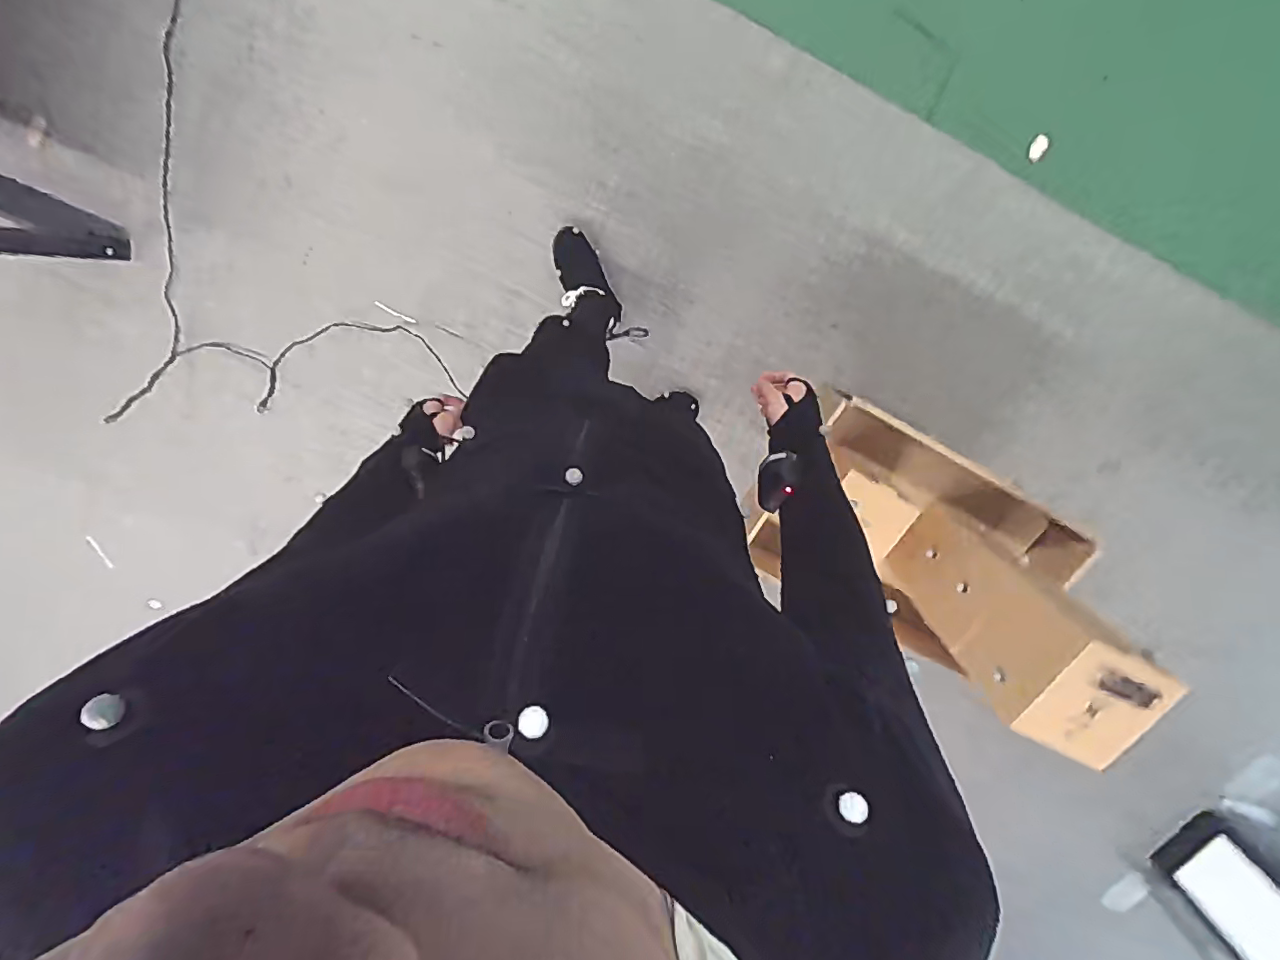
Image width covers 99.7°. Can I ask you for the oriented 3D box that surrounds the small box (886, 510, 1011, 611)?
[{"bbox_3d":[0.657,0.195,1.154,0.168,0.176,0.179,28,108,-7],"label":"small box"}]

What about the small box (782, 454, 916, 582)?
[{"bbox_3d":[0.418,0.070,1.118,0.168,0.176,0.179,30,108,-8],"label":"small box"}]

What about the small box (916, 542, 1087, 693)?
[{"bbox_3d":[0.645,0.246,0.998,0.168,0.176,0.179,27,107,-6],"label":"small box"}]
